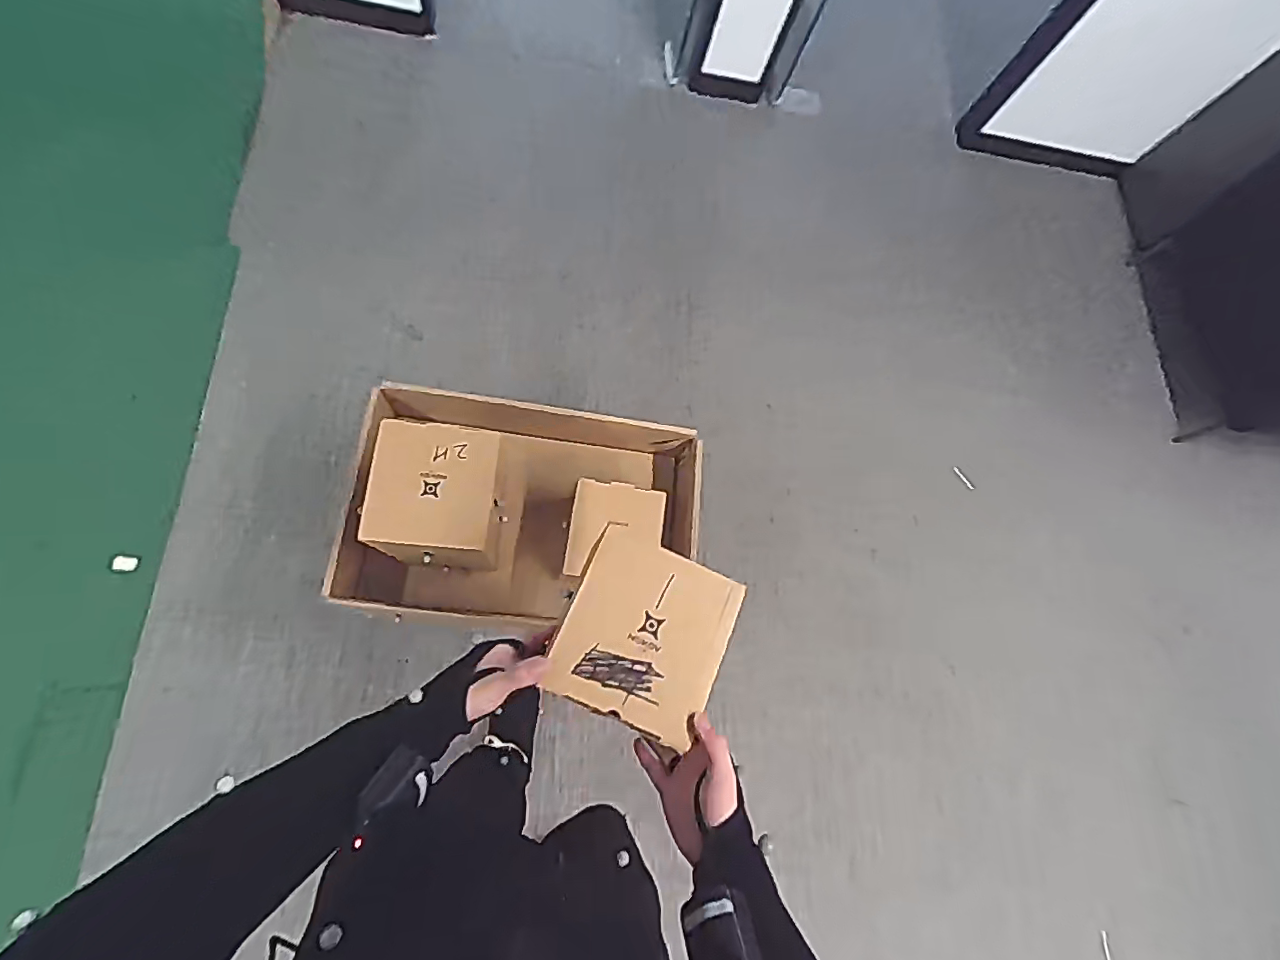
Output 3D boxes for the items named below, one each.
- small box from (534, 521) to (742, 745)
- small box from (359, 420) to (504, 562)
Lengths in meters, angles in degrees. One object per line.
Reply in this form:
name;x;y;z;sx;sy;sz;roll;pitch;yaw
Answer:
small box;-0.009;0.173;0.627;0.168;0.176;0.179;25;71;-3
small box;-0.303;0.027;0.826;0.168;0.176;0.179;7;74;-10
